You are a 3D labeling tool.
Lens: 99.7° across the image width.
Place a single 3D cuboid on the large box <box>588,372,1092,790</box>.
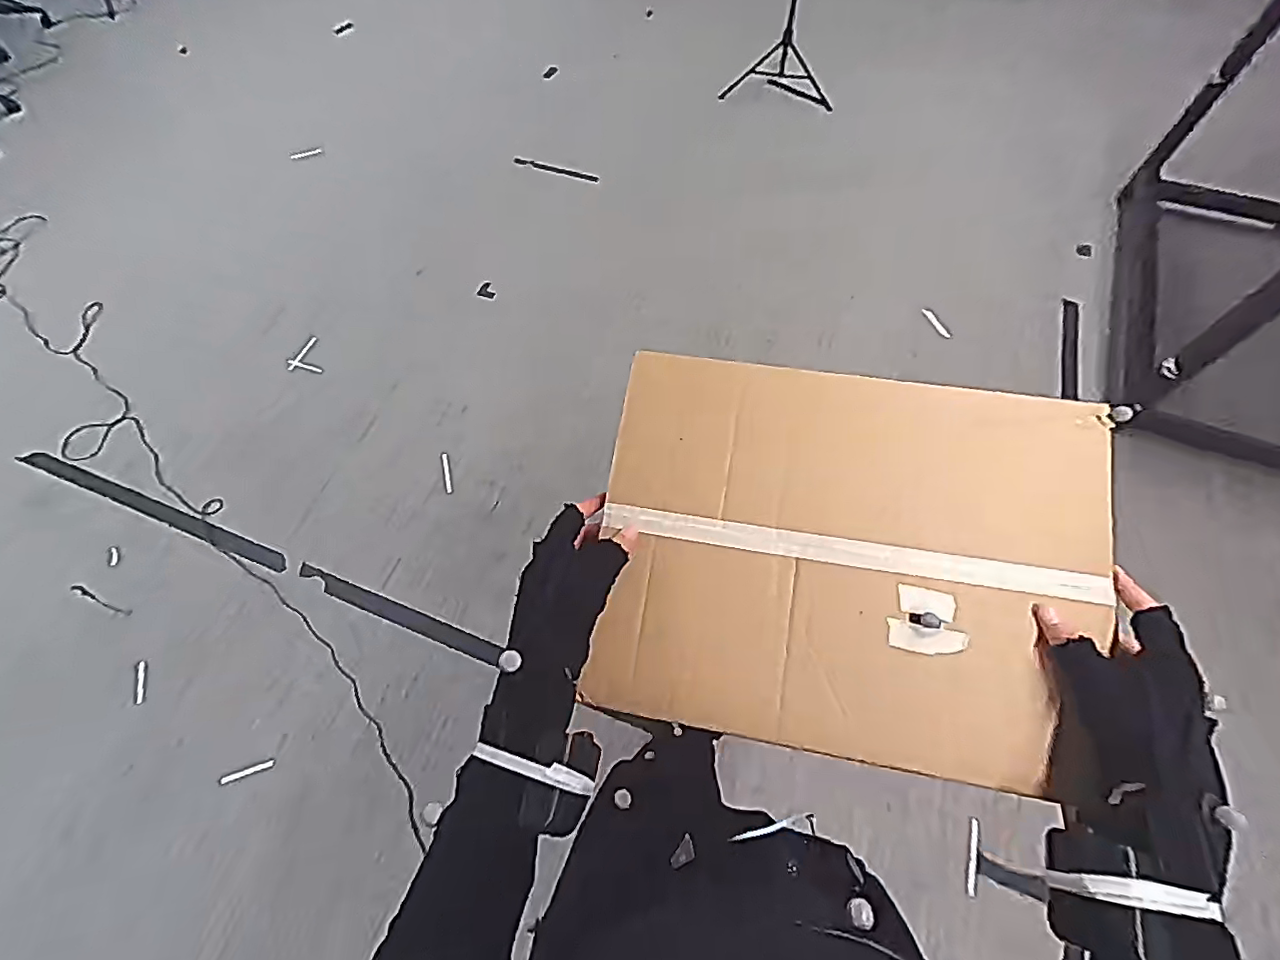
[{"bbox_3d":[0.184,0.101,0.611,0.408,0.320,0.320,8,78,7],"label":"large box"}]
